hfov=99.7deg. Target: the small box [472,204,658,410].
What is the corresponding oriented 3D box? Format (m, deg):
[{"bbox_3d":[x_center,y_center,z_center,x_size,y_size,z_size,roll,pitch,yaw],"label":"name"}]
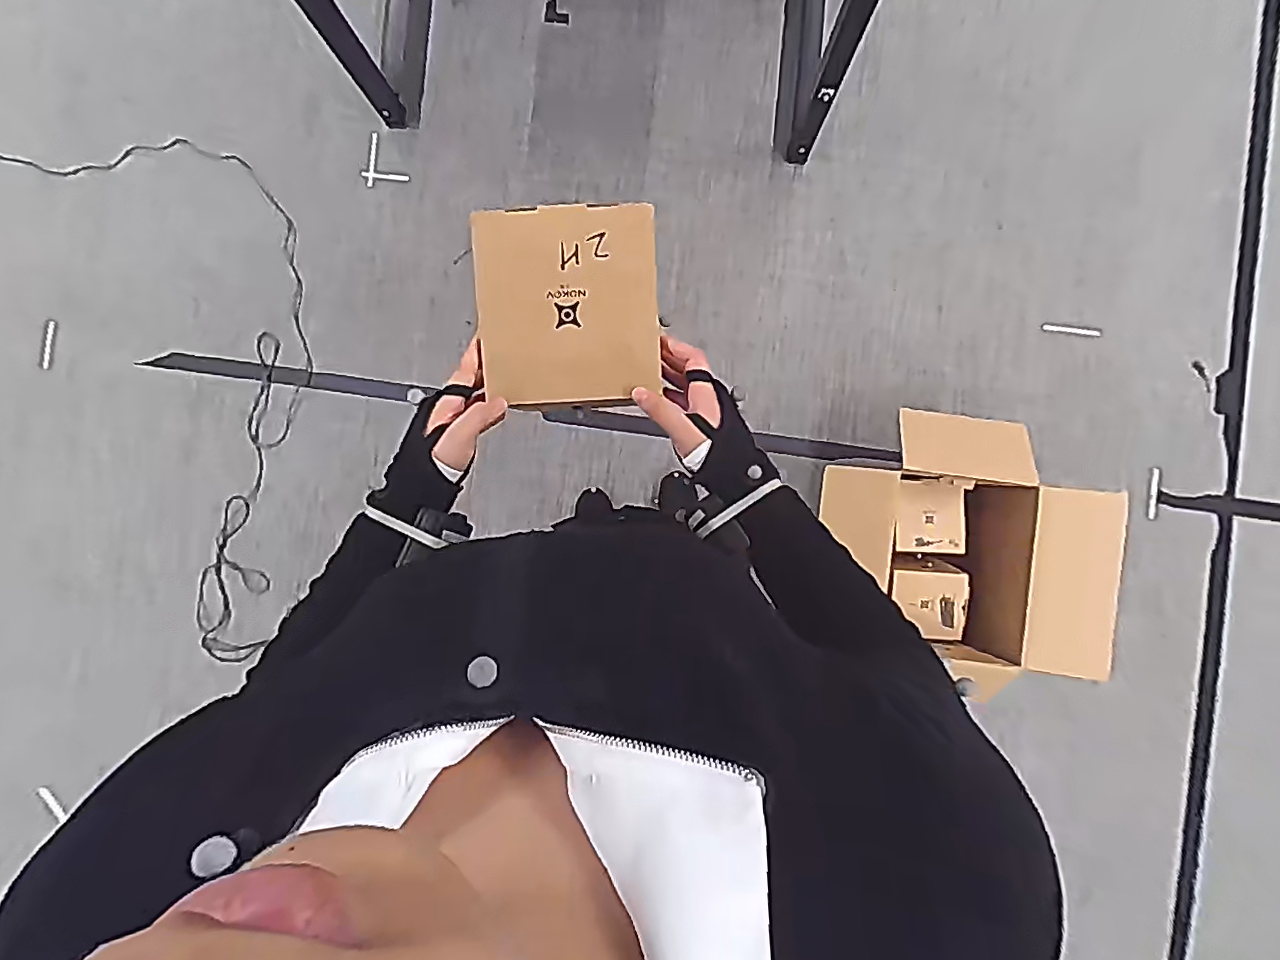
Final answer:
[{"bbox_3d":[-0.066,-0.164,0.570,0.168,0.176,0.179,-3,95,0],"label":"small box"}]
